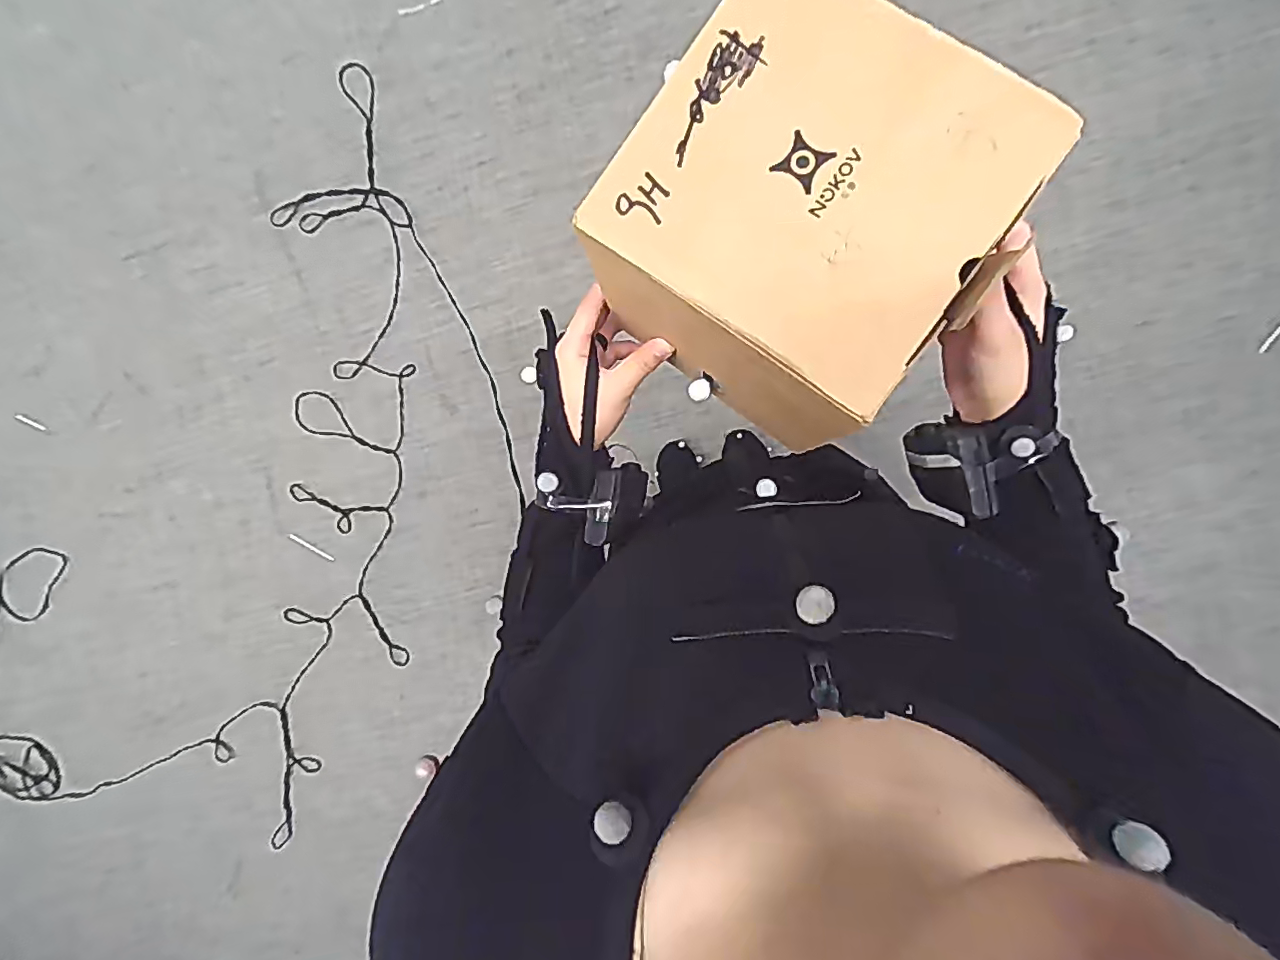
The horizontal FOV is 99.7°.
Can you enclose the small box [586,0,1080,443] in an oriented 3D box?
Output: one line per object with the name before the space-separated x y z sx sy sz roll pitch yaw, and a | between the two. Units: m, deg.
small box | 0.096 -0.136 0.338 0.179 0.176 0.168 37 91 5
